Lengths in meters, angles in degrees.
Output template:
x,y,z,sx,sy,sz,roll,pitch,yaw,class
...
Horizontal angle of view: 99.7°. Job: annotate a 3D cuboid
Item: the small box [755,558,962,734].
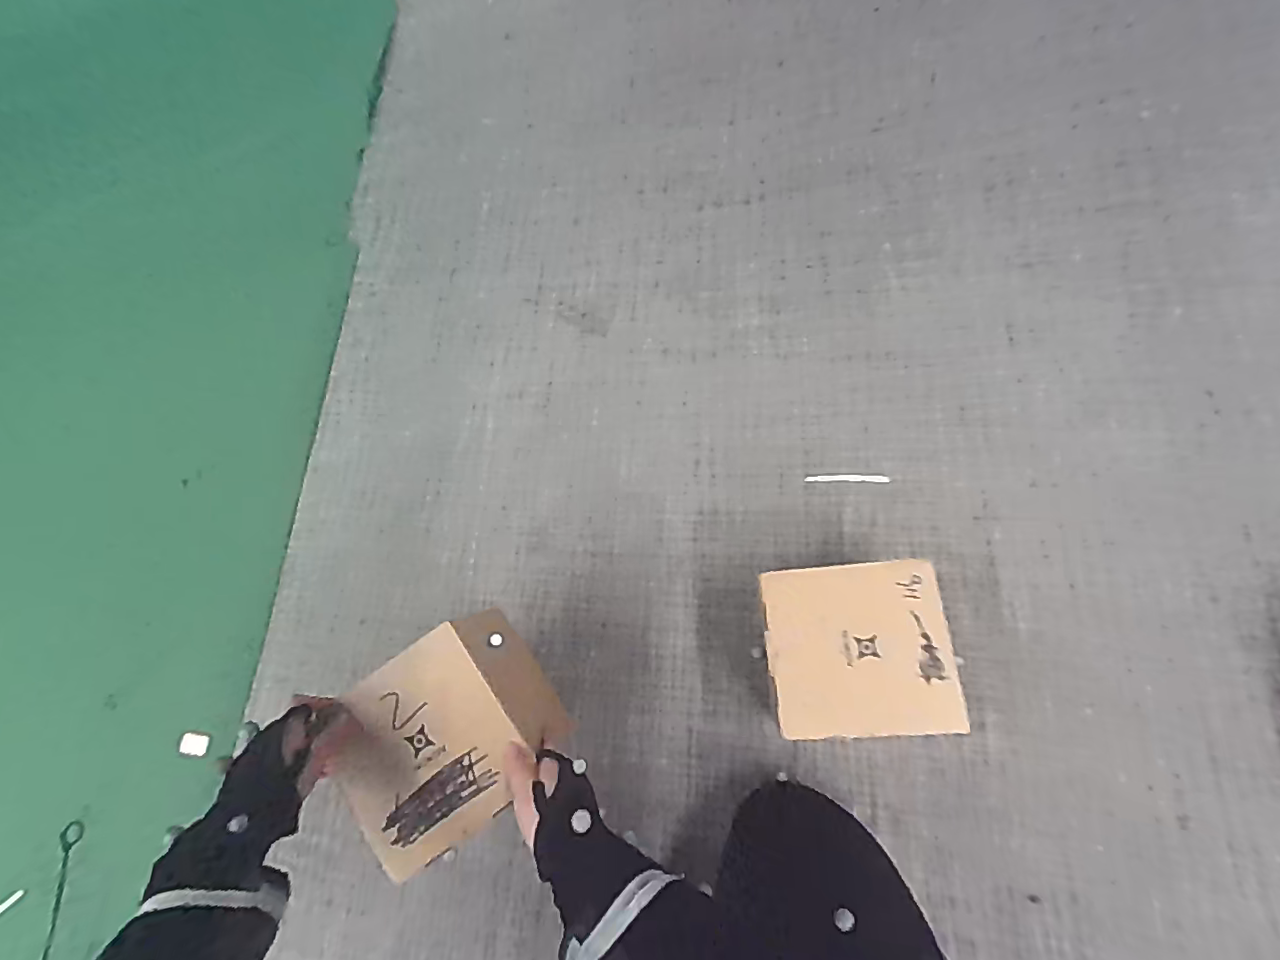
x,y,z,sx,sy,sz,roll,pitch,yaw,class
0.231,0.191,0.619,0.179,0.176,0.168,-7,71,10,small box
